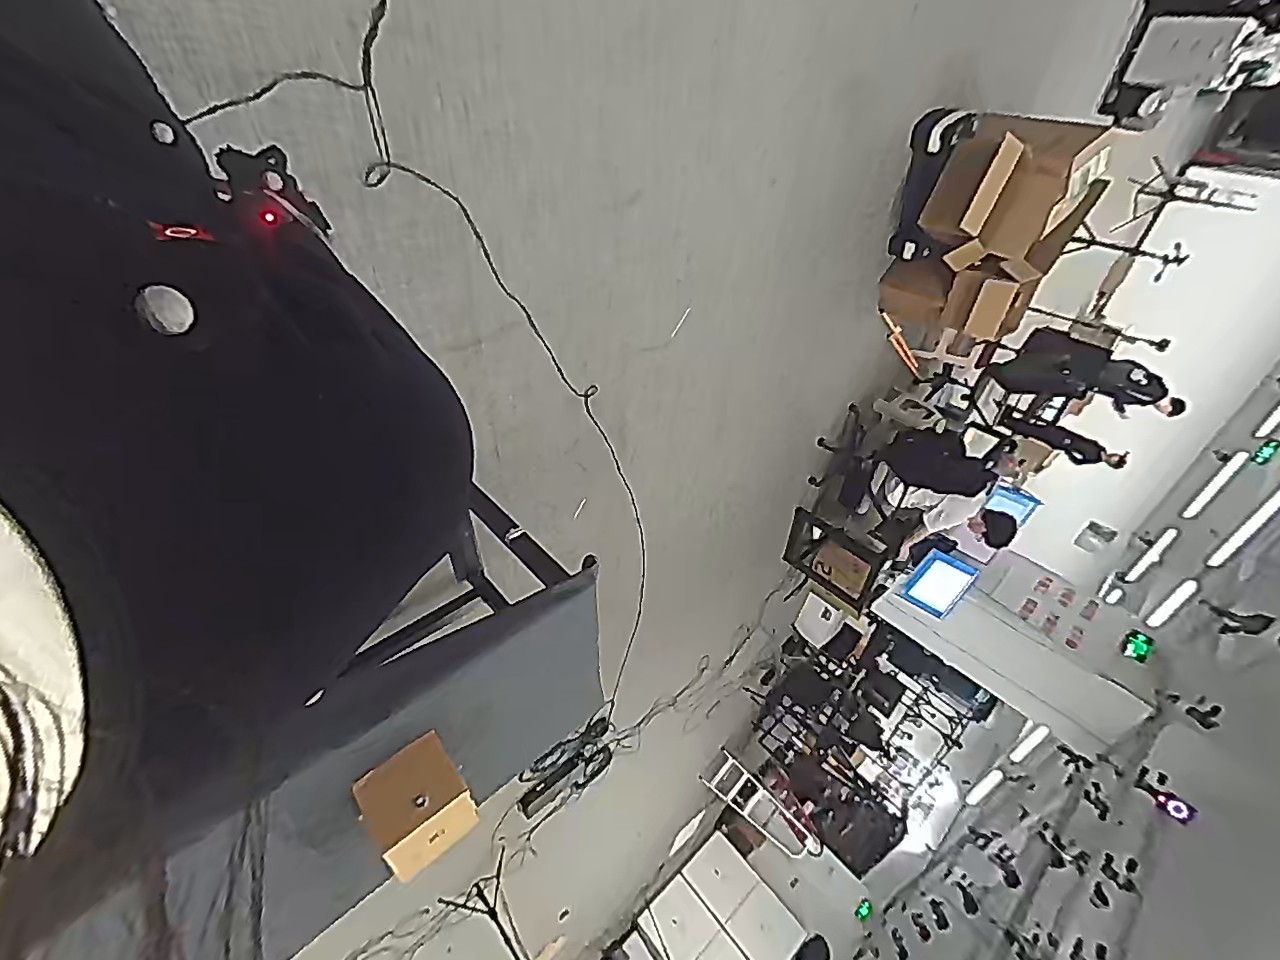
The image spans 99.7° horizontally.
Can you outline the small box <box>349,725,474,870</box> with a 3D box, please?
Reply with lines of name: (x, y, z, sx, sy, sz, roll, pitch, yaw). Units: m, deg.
small box: (-0.480, 0.663, 1.145, 0.179, 0.176, 0.168, -28, 138, -32)
